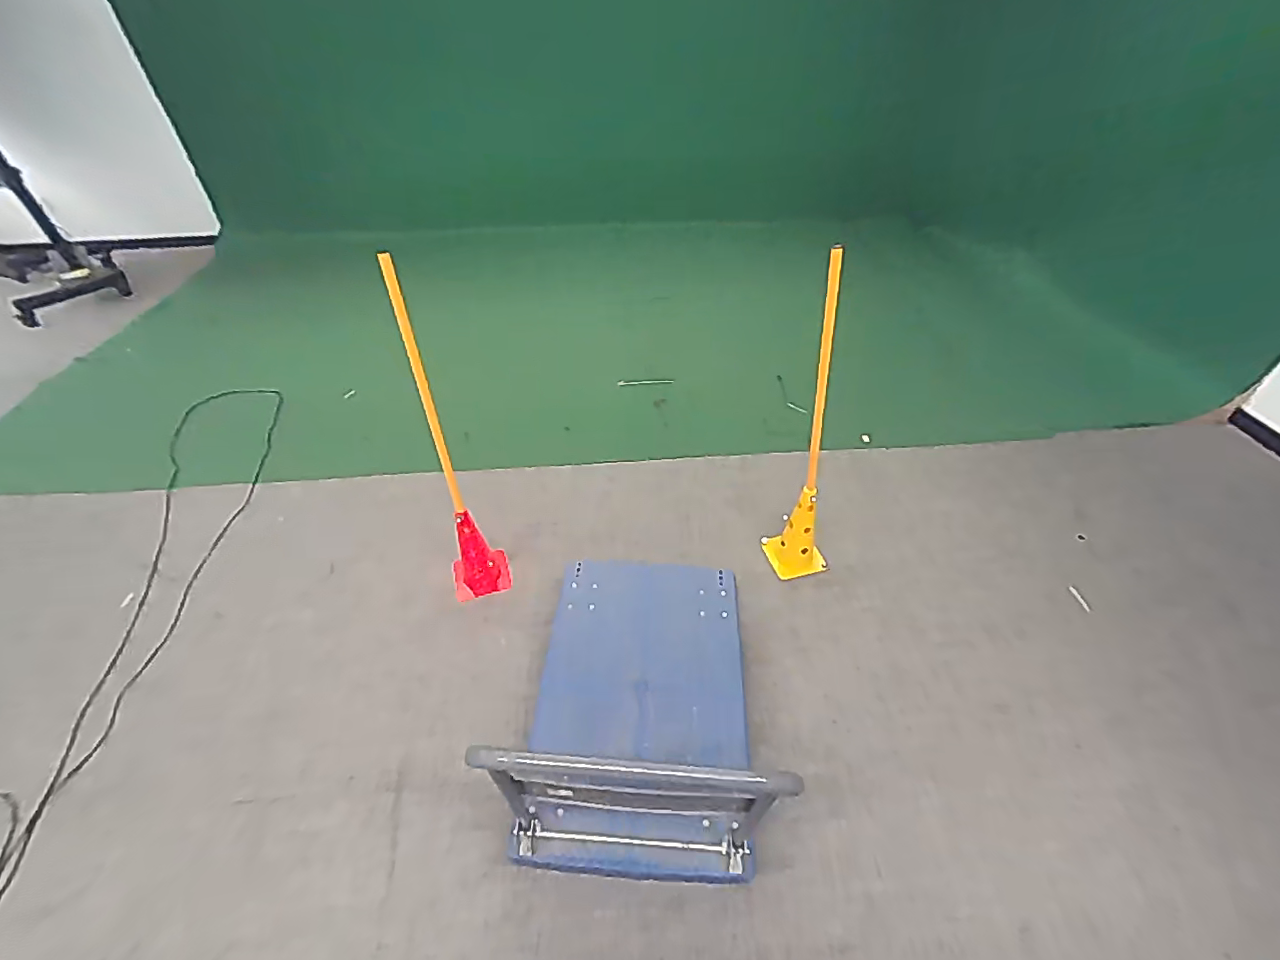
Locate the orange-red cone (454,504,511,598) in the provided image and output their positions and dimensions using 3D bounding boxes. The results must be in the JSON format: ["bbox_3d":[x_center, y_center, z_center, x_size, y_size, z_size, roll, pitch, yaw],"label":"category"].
[{"bbox_3d":[-0.596,0.223,1.917,0.199,0.360,0.198,-14,44,-12],"label":"orange-red cone"}]
